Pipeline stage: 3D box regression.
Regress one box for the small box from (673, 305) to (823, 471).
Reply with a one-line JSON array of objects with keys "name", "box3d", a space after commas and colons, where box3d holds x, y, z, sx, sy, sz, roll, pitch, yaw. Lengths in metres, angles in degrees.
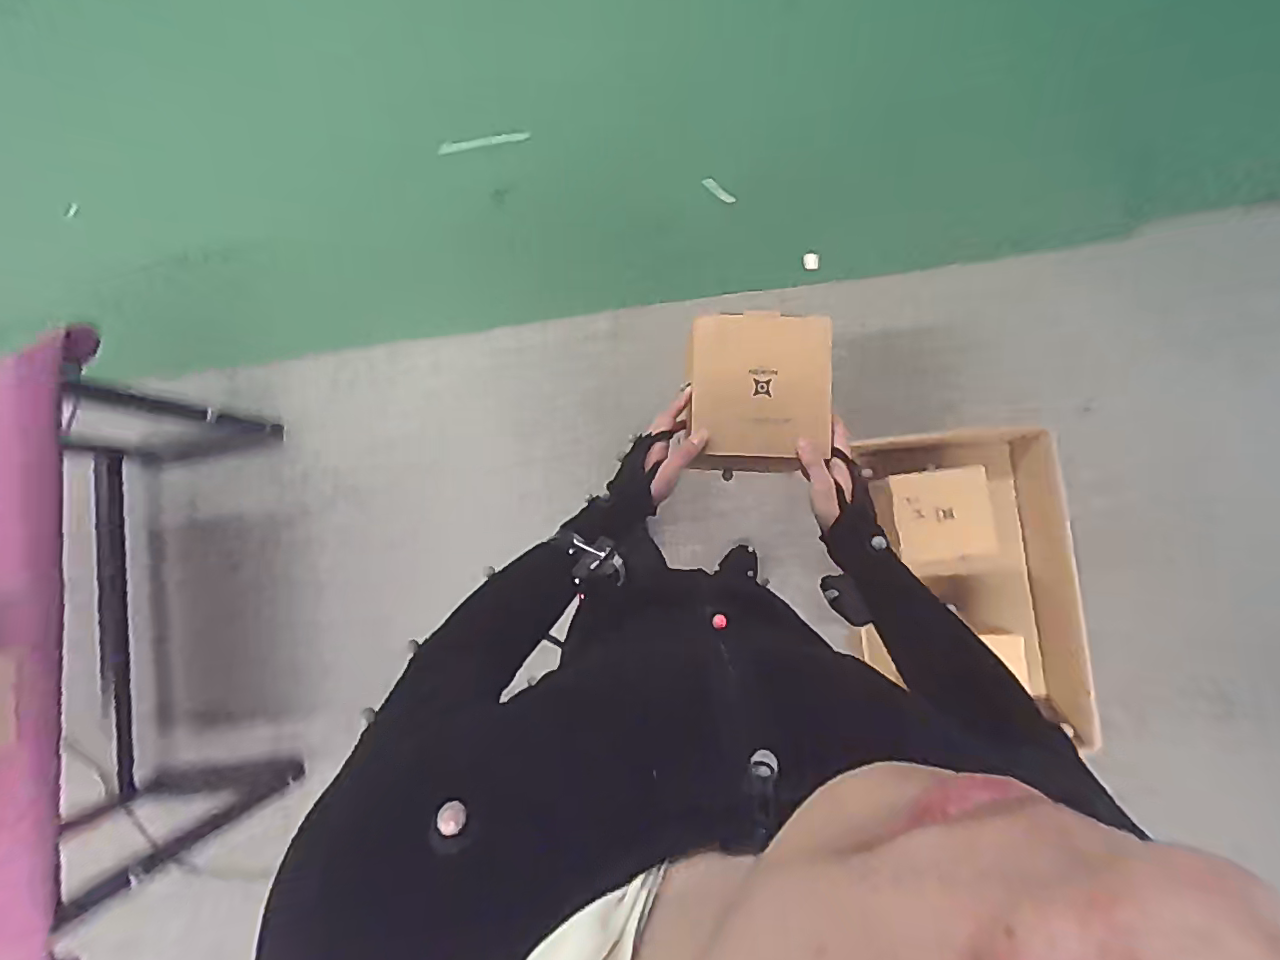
[{"name": "small box", "box3d": [0.131, -0.110, 0.709, 0.168, 0.176, 0.179, 1, 84, 0]}]
